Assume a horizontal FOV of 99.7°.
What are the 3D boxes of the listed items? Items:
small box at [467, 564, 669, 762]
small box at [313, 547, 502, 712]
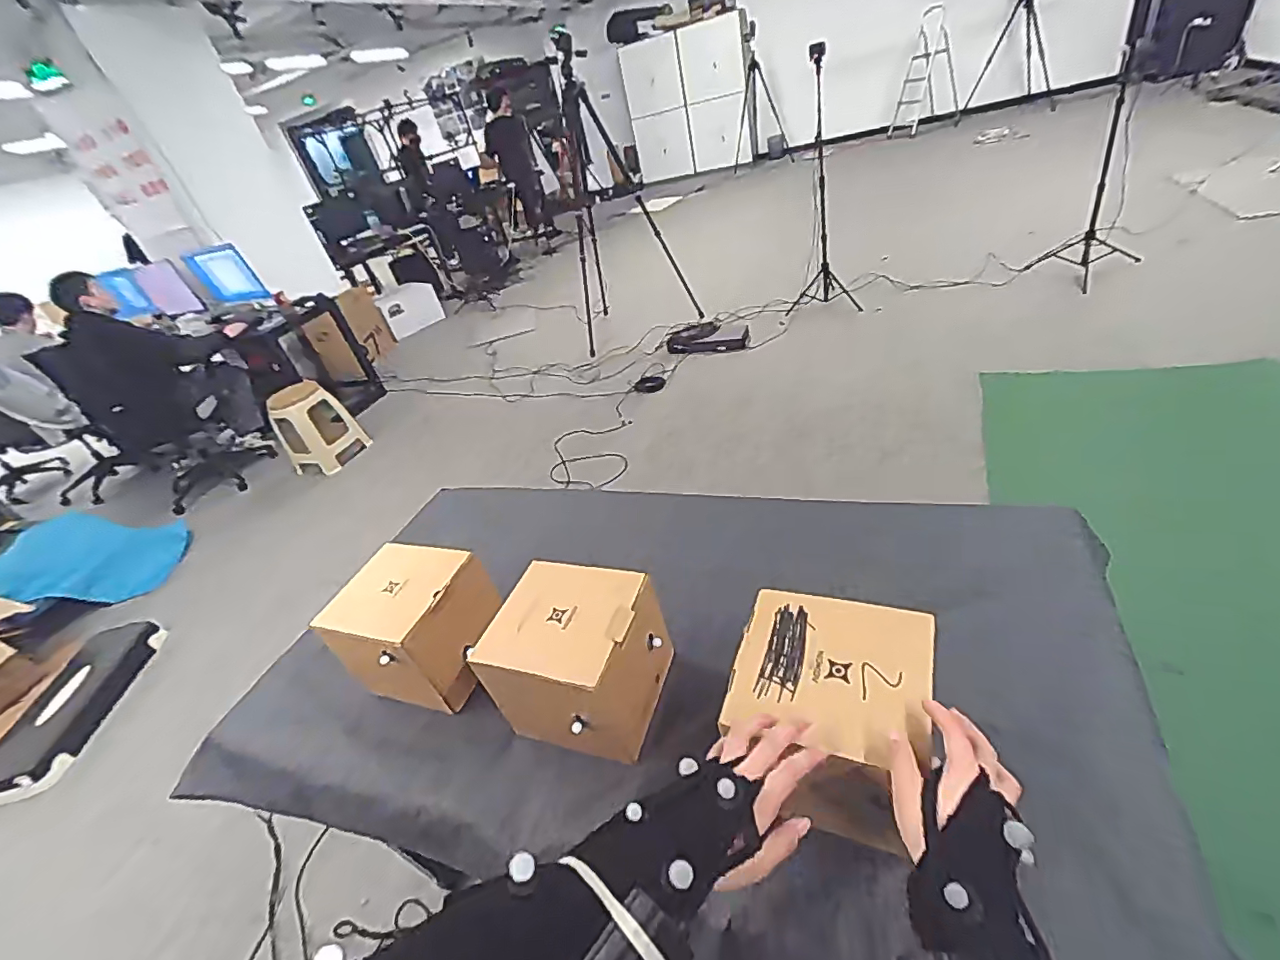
[{"bbox_3d":[-0.077,0.231,0.693,0.179,0.176,0.168,0,36,26],"label":"small box"},{"bbox_3d":[-0.331,0.222,0.814,0.179,0.176,0.168,2,38,24],"label":"small box"}]
